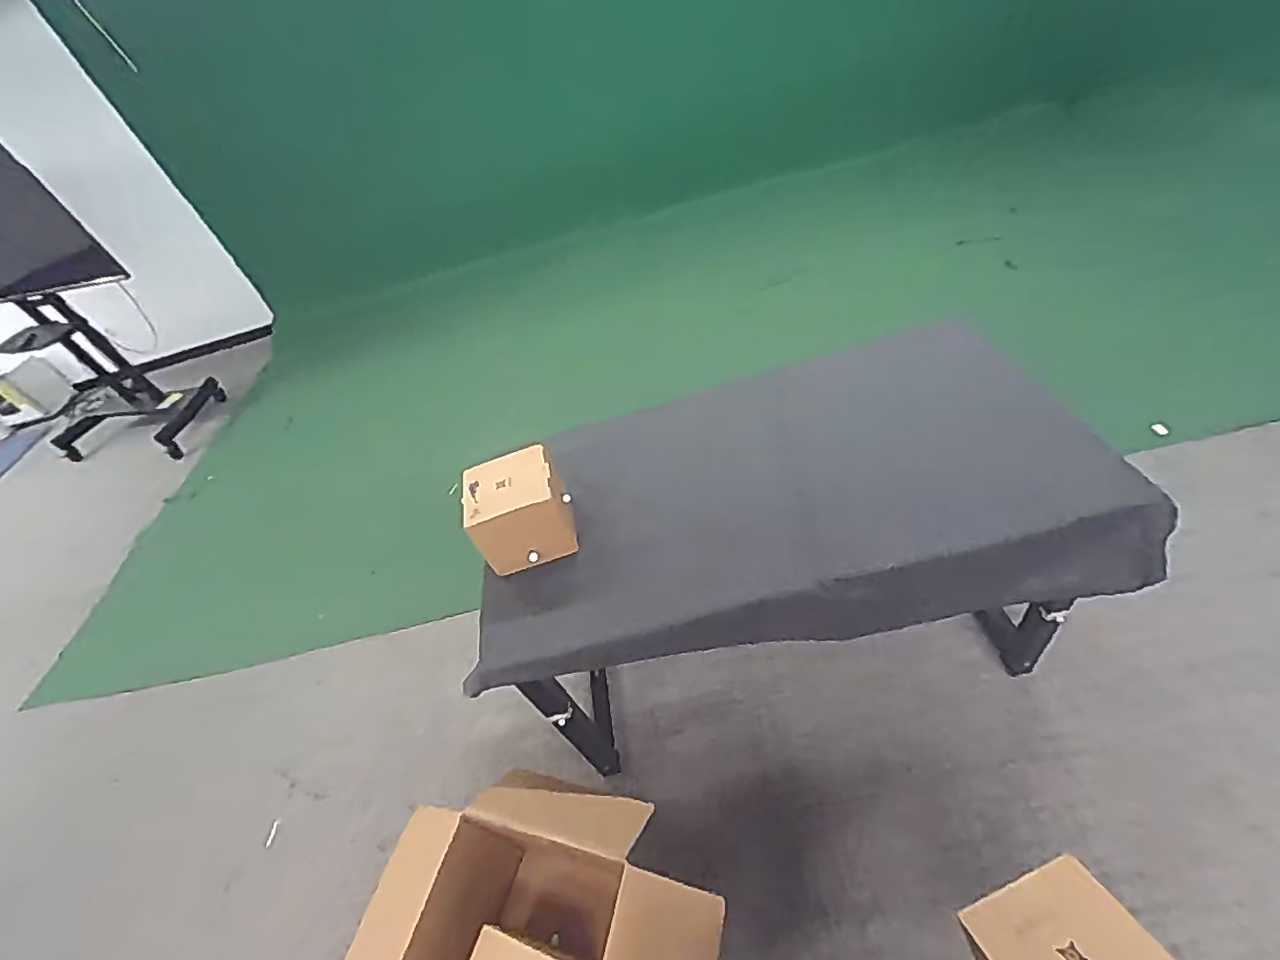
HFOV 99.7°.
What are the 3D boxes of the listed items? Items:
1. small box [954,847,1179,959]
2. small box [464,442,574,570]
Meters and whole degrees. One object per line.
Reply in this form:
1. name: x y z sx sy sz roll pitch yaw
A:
1. small box: 0.510 0.586 0.619 0.168 0.176 0.179 -27 18 -2
2. small box: -0.243 0.056 1.108 0.179 0.176 0.168 -18 44 -1
